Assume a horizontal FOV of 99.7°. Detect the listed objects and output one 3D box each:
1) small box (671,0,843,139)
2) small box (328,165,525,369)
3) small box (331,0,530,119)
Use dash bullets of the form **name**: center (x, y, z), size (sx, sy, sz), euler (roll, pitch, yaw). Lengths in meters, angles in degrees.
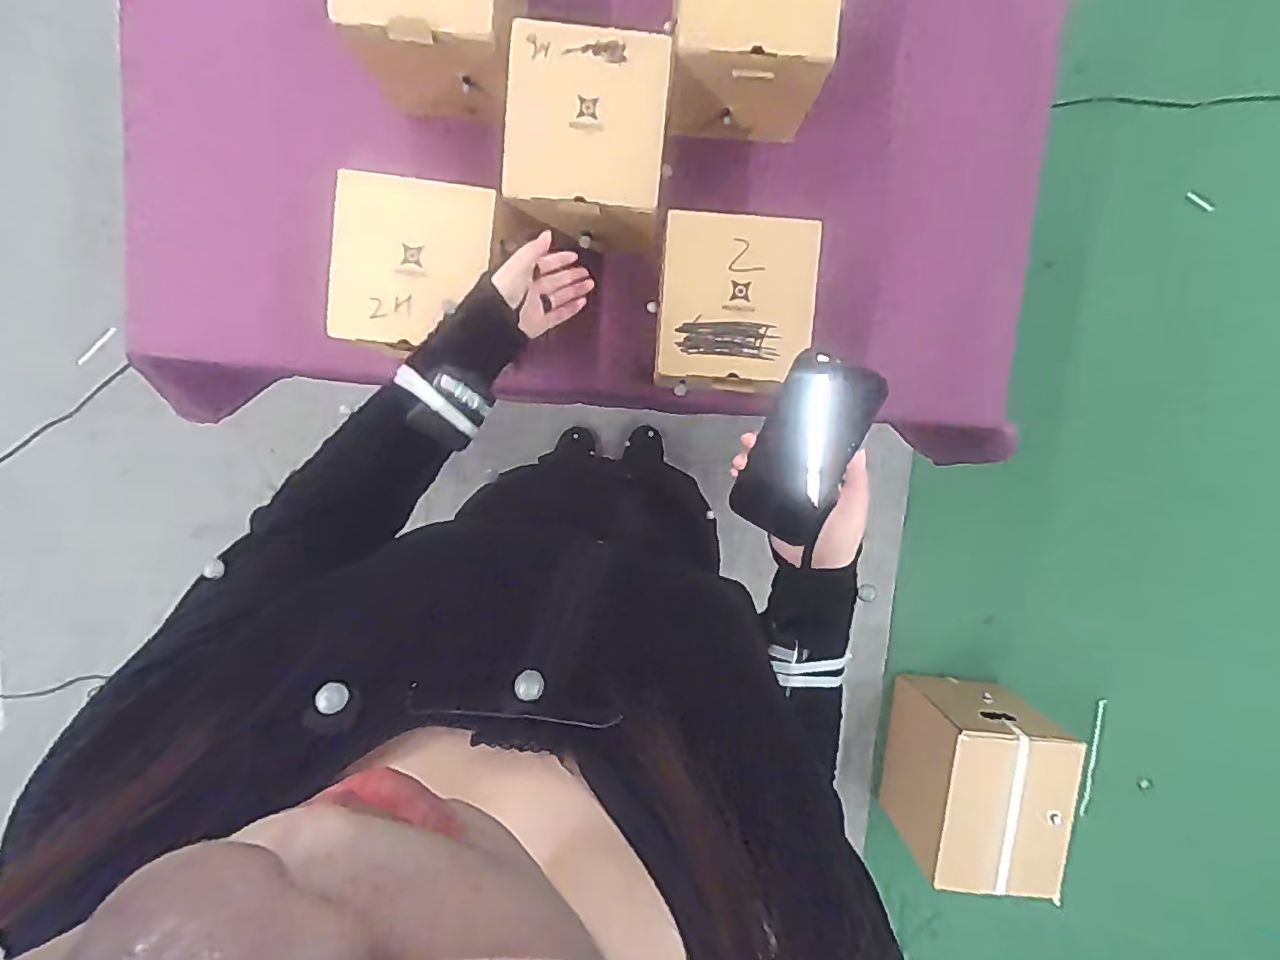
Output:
- **small box**: center (0.125, -0.532, 0.622), size (0.168, 0.176, 0.179), euler (3, 98, -1)
- **small box**: center (-0.240, -0.238, 0.648), size (0.168, 0.176, 0.179), euler (8, 96, -1)
- **small box**: center (-0.224, -0.549, 0.615), size (0.168, 0.176, 0.179), euler (5, 96, -3)
